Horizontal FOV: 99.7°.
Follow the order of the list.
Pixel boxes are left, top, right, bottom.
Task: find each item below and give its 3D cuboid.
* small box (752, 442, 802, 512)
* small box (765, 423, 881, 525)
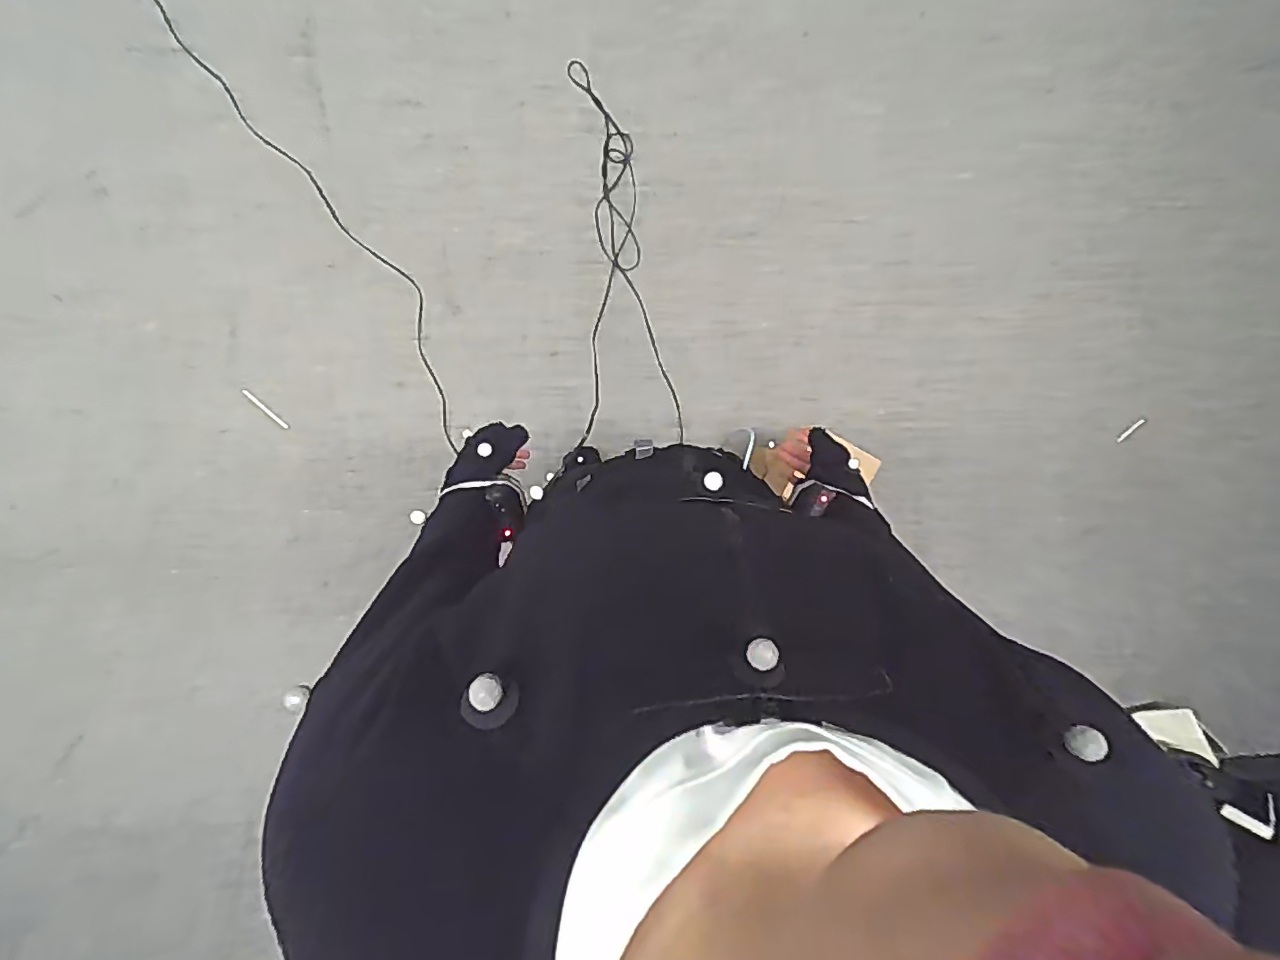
[{"bbox_3d":[0.398,-0.014,1.413,0.179,0.176,0.168,-7,95,-4],"label":"small box"},{"bbox_3d":[0.415,-0.019,1.265,0.168,0.176,0.179,28,93,-6],"label":"small box"}]
